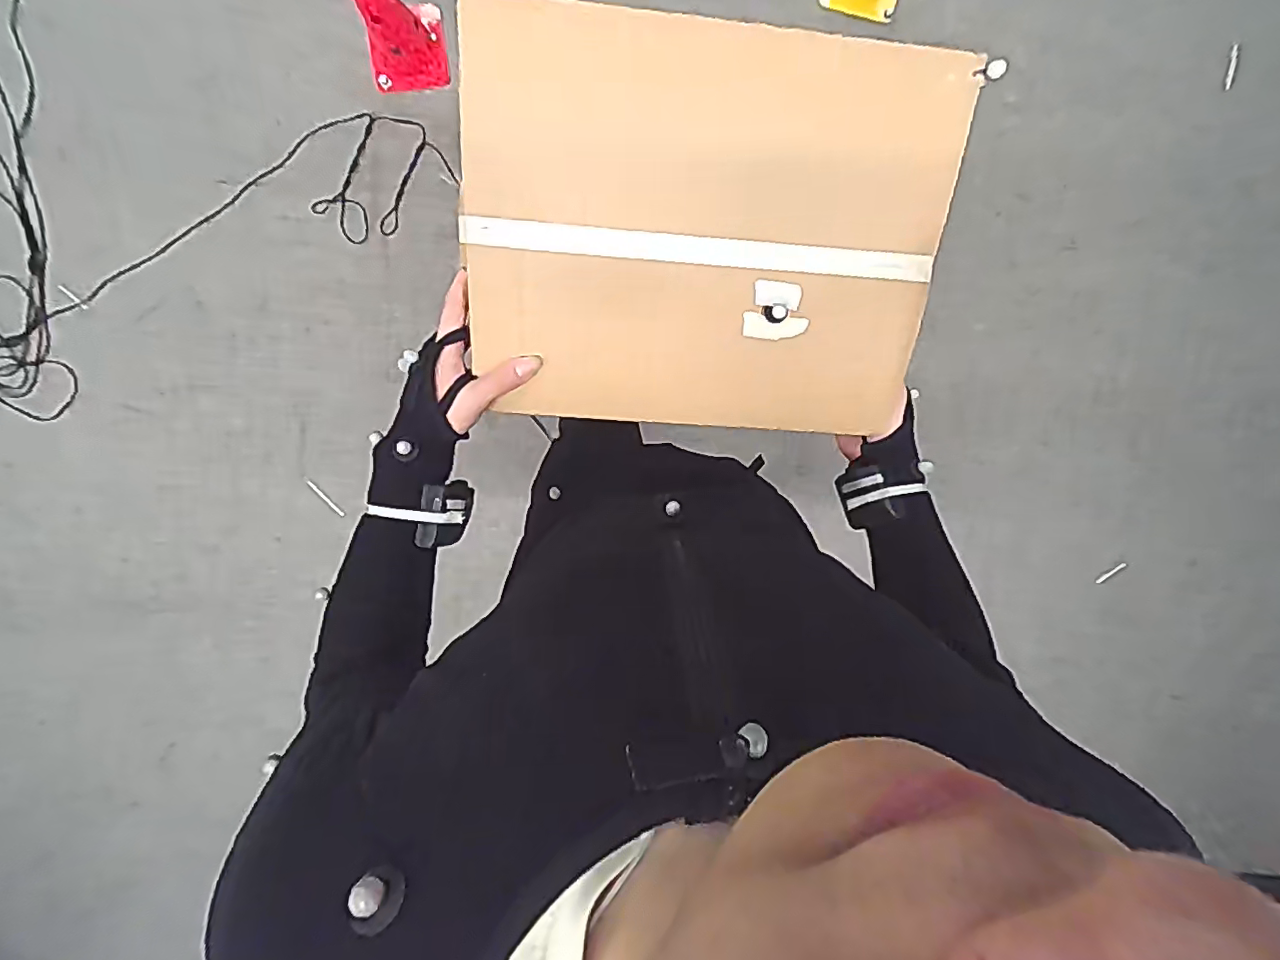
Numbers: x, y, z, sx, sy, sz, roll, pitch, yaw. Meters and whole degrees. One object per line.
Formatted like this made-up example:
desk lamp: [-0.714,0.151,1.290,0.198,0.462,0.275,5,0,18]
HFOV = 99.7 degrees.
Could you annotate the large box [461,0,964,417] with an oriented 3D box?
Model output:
large box: [0.042,-0.266,0.608,0.408,0.320,0.320,3,113,-6]
